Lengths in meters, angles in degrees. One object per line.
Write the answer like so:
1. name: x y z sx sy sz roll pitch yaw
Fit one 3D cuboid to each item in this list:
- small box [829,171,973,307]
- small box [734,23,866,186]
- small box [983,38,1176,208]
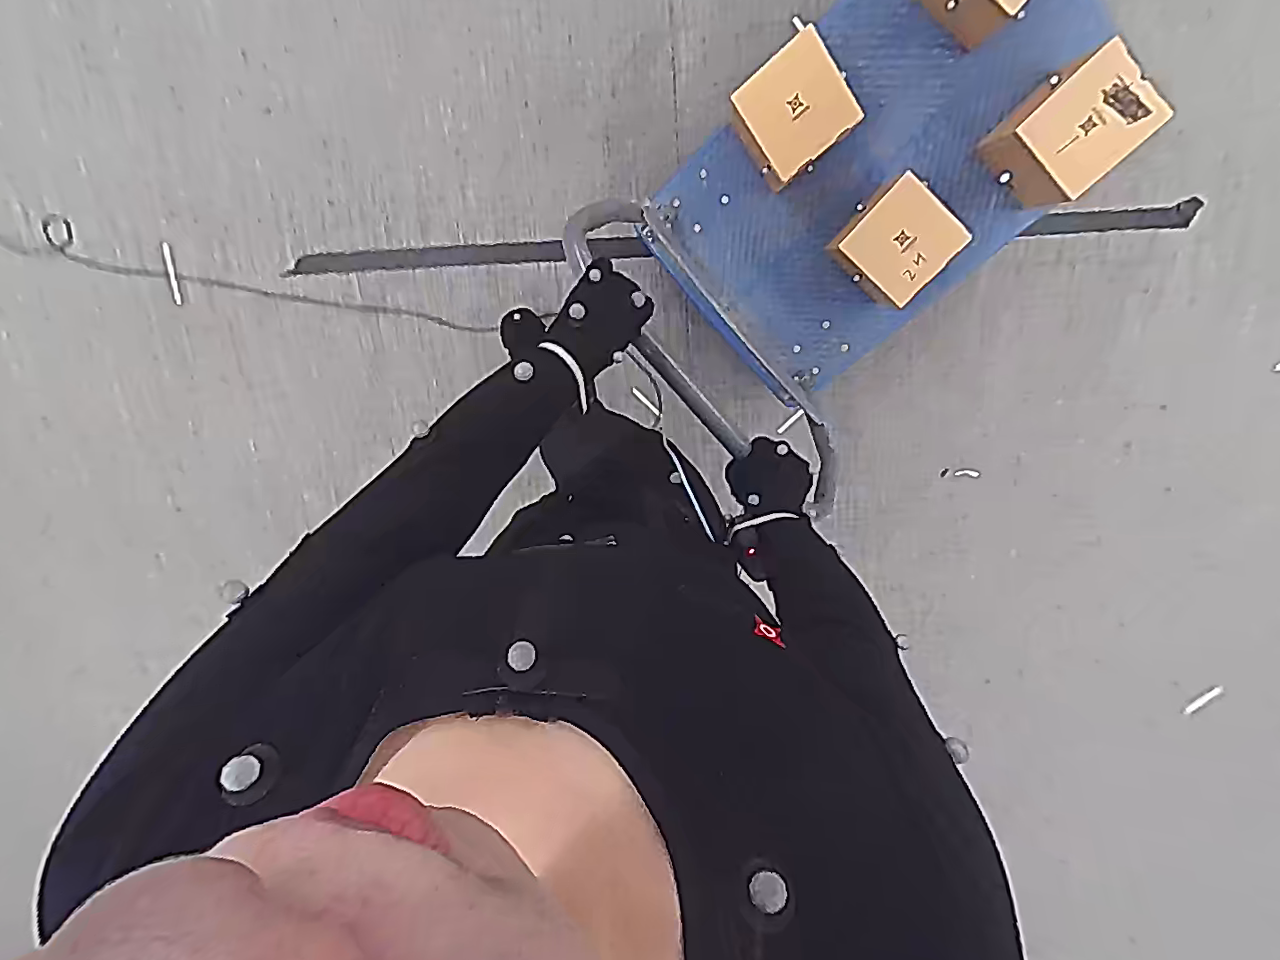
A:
1. small box: 0.500 -0.467 1.068 0.179 0.176 0.168 41 113 -8
2. small box: 0.288 -0.684 1.016 0.168 0.176 0.179 -34 105 20
3. small box: 0.765 -0.617 0.963 0.168 0.176 0.179 44 113 -9
